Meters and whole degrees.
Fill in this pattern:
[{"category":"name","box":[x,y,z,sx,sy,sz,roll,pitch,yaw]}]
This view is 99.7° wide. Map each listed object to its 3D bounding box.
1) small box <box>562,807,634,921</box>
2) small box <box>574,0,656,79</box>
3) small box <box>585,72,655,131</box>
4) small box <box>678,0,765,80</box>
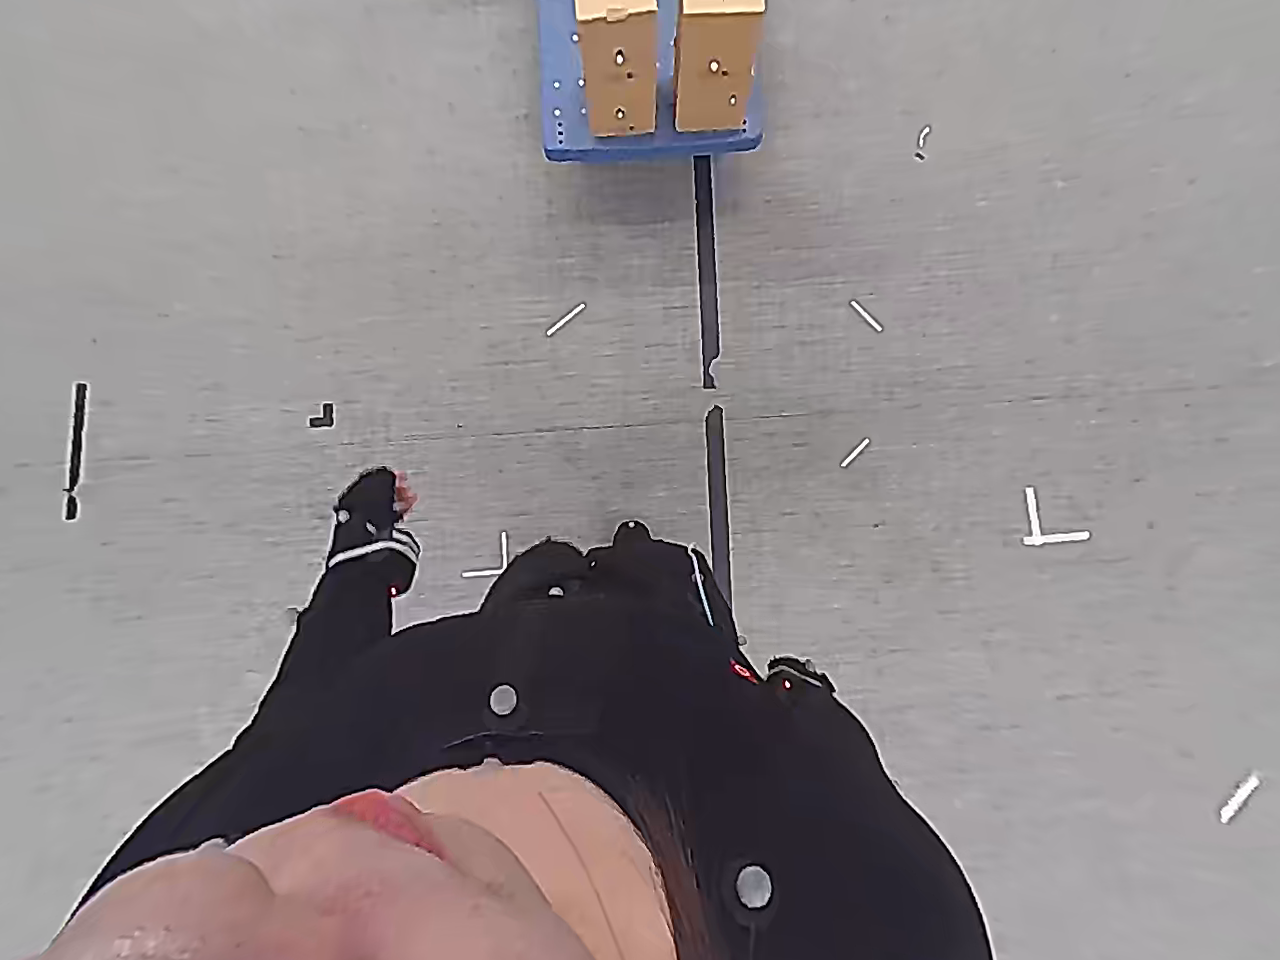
[{"category":"small box","box":[-0.100,0.956,1.358,0.168,0.176,0.179,-2,84,0]},{"category":"small box","box":[-0.052,-1.007,1.169,0.168,0.176,0.179,-6,86,0]},{"category":"small box","box":[-0.048,-0.994,1.333,0.168,0.176,0.179,-4,84,0]},{"category":"small box","box":[0.169,-1.012,1.164,0.168,0.176,0.179,0,85,0]}]
